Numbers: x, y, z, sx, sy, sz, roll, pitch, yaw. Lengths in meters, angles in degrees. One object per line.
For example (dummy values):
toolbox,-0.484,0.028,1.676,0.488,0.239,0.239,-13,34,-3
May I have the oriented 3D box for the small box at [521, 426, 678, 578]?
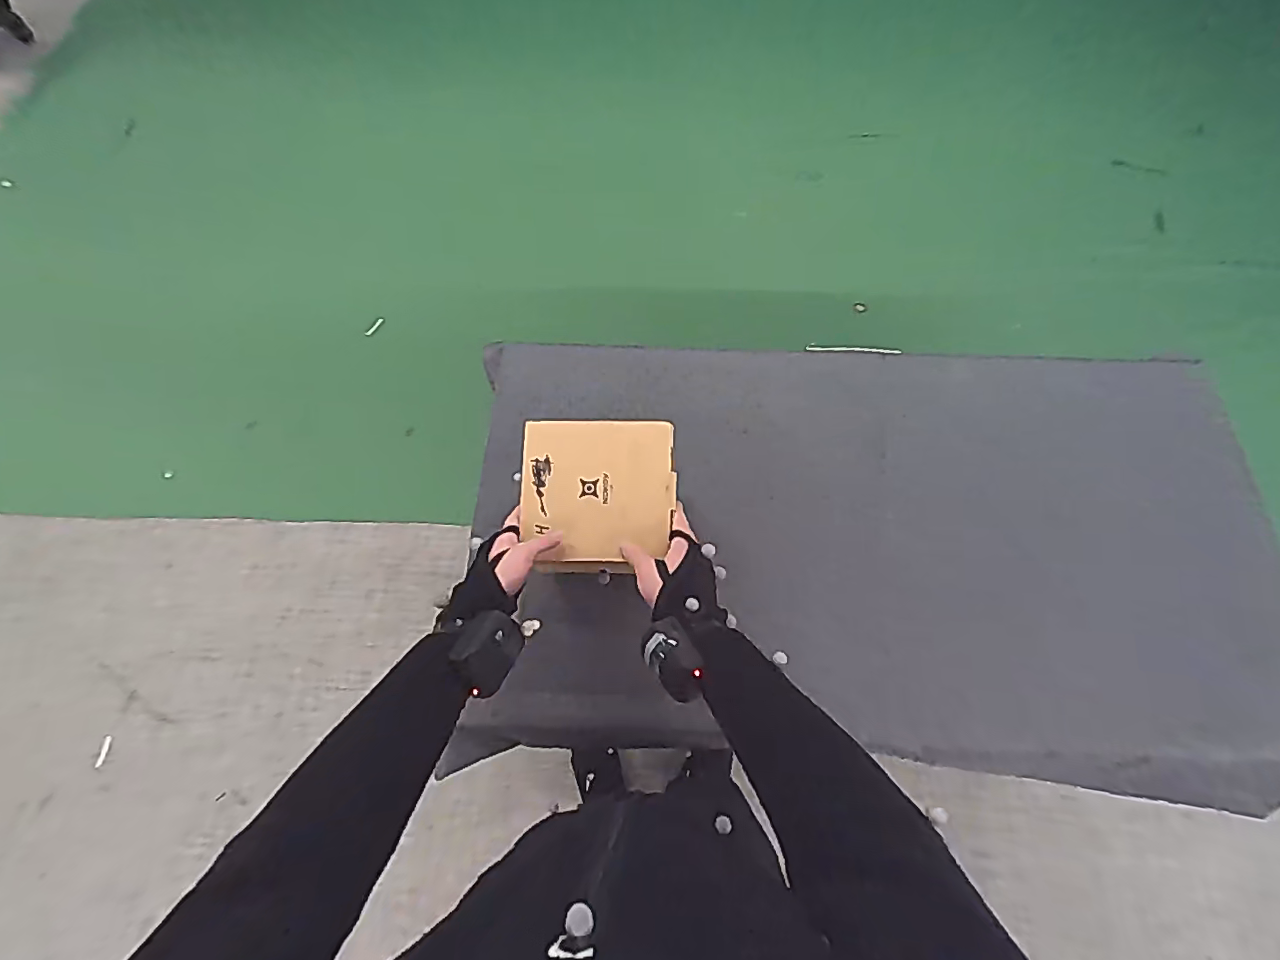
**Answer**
small box,-0.045,0.036,0.697,0.179,0.176,0.168,1,76,0
